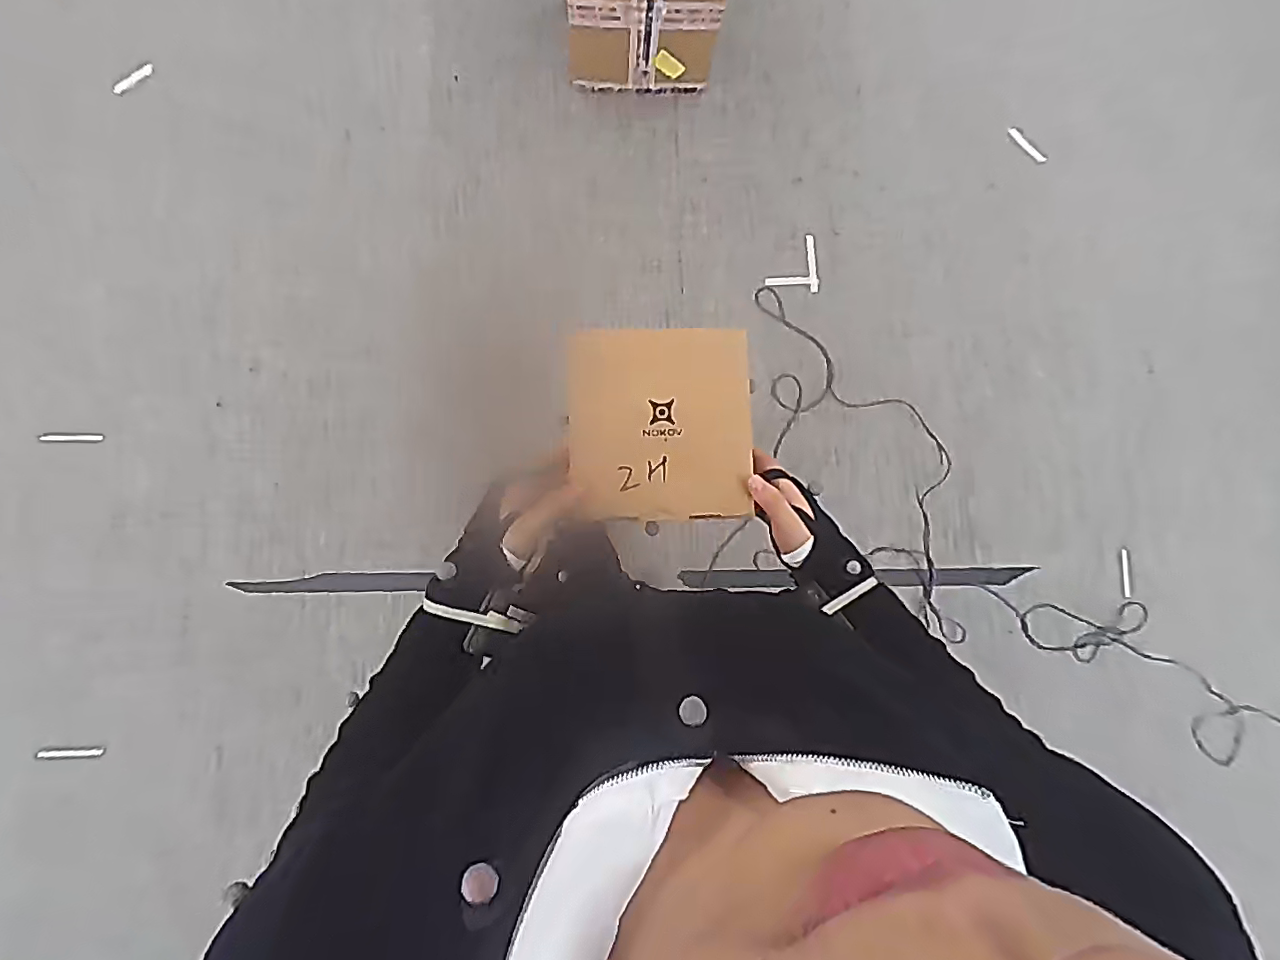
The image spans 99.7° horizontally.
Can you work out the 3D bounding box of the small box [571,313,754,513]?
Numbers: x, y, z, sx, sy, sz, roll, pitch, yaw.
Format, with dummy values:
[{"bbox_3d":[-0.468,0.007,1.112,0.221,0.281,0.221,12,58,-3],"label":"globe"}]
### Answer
[{"bbox_3d":[0.014,-0.057,0.563,0.168,0.176,0.179,-1,85,-4],"label":"small box"}]
